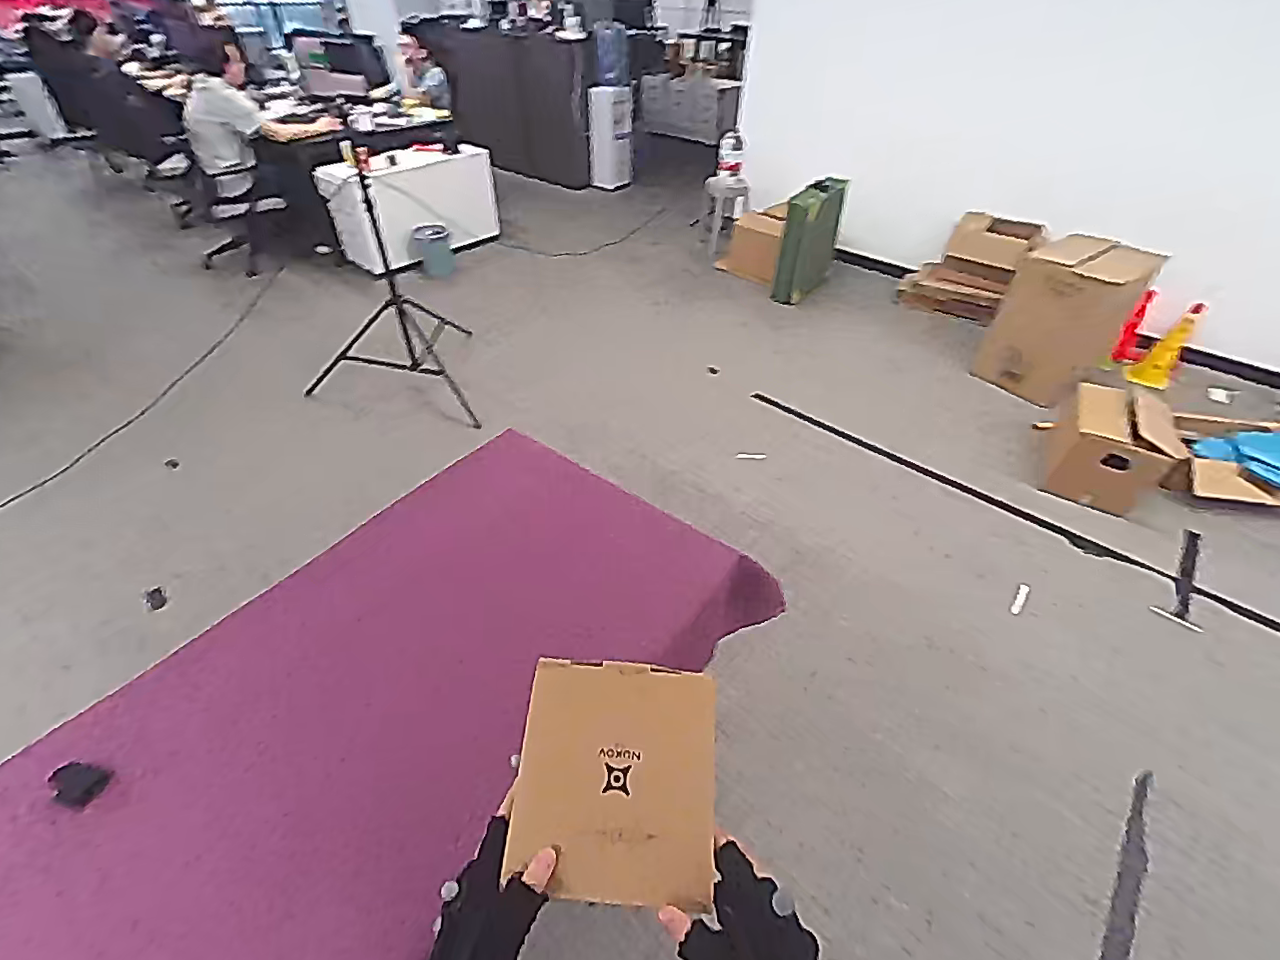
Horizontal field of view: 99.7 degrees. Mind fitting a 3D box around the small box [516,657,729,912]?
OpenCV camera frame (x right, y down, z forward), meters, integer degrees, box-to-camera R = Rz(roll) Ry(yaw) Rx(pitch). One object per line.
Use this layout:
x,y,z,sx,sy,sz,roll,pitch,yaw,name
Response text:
-0.010,0.285,0.519,0.168,0.176,0.179,5,59,1,small box
